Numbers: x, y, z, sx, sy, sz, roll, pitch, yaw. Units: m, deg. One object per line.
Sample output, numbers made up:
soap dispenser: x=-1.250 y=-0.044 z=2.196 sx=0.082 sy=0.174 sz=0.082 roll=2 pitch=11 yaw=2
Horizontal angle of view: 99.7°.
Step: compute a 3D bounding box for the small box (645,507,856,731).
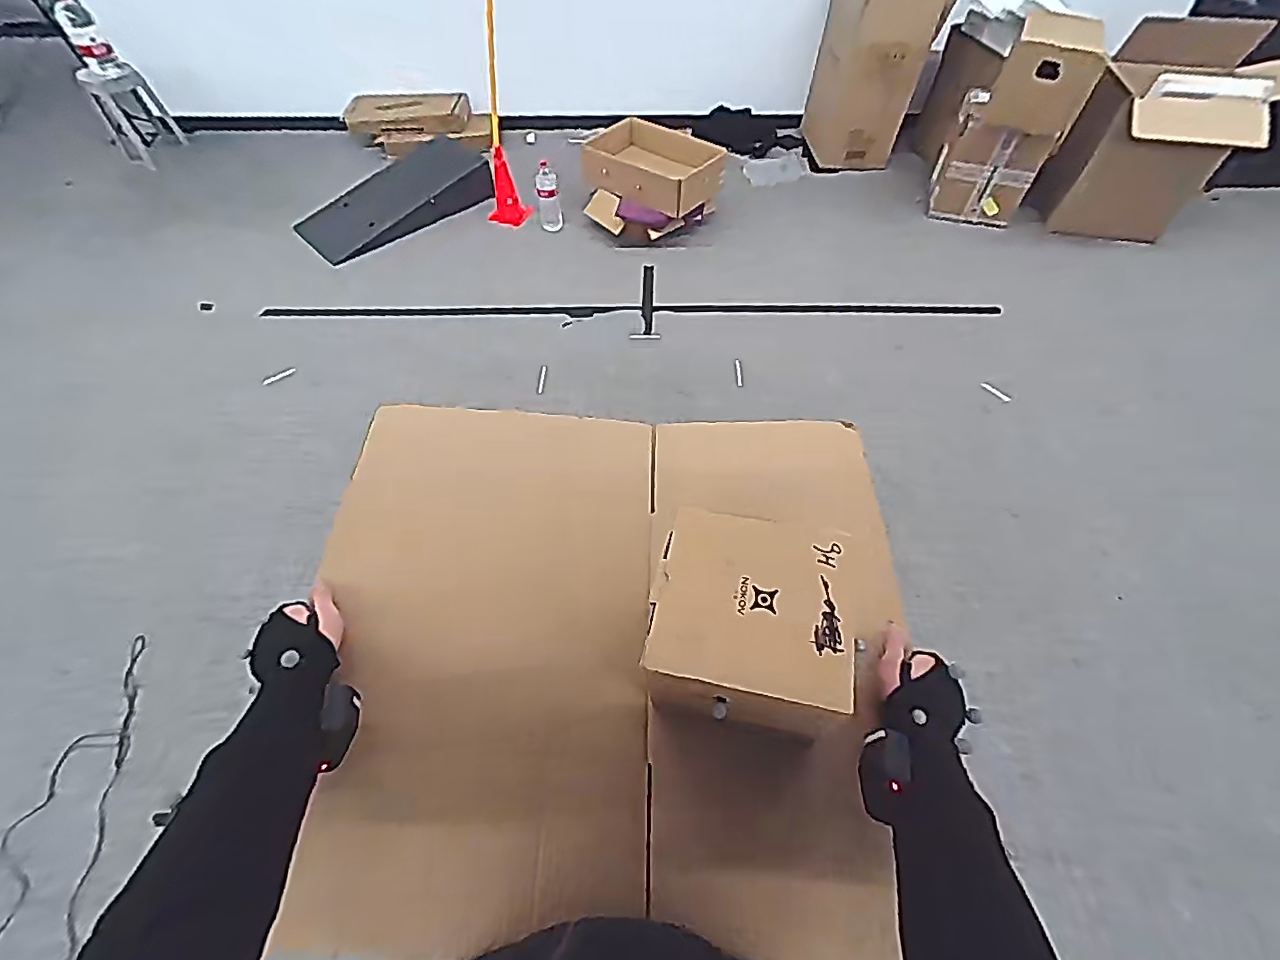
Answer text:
small box: x=0.114 y=0.149 z=0.562 sx=0.179 sy=0.176 sz=0.168 roll=8 pitch=59 yaw=12
